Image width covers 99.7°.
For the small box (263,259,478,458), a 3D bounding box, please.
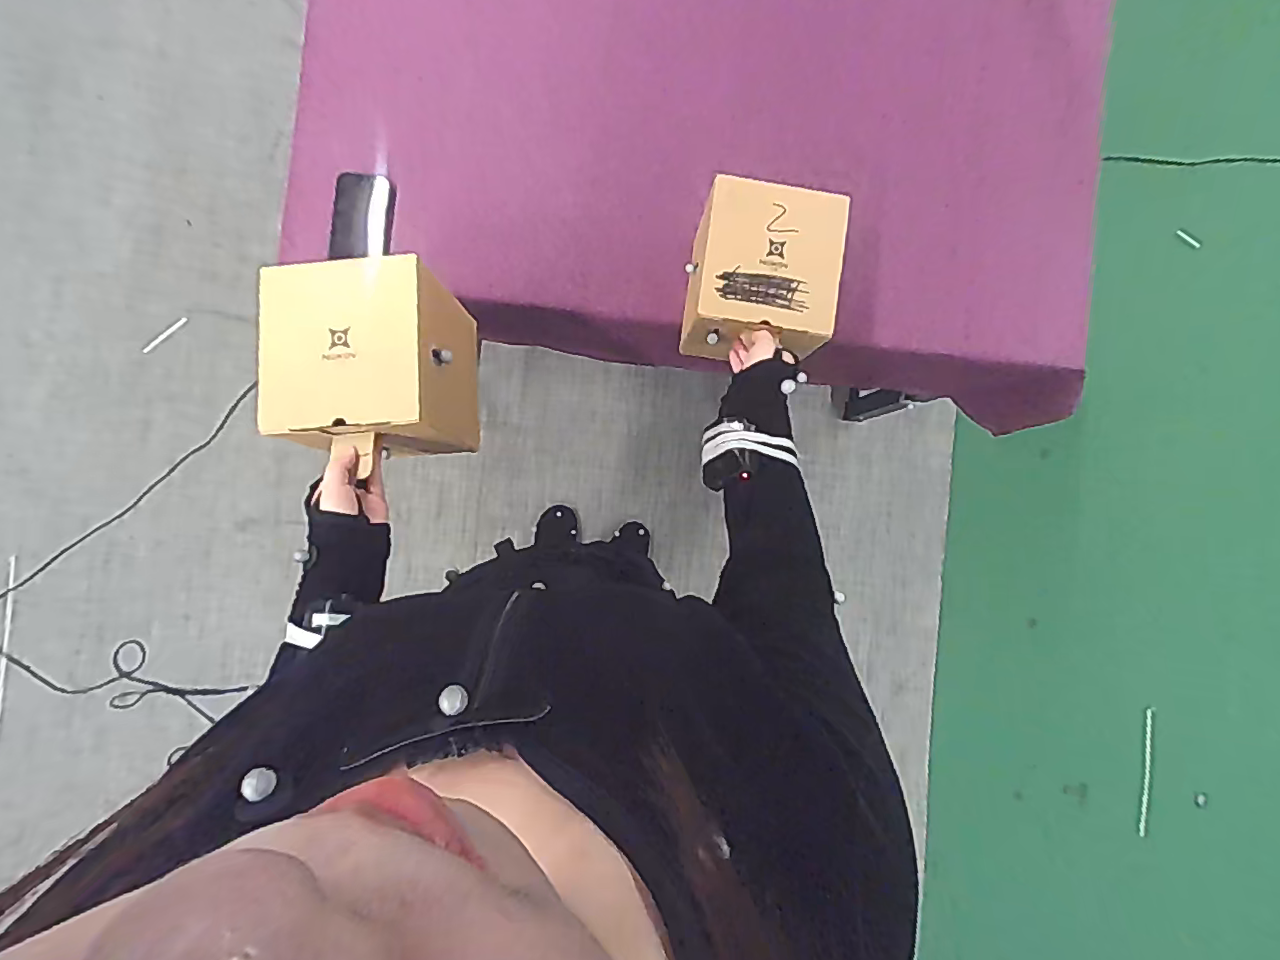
[{"bbox_3d":[-0.296,-0.128,0.626,0.168,0.176,0.179,-4,84,3],"label":"small box"}]
